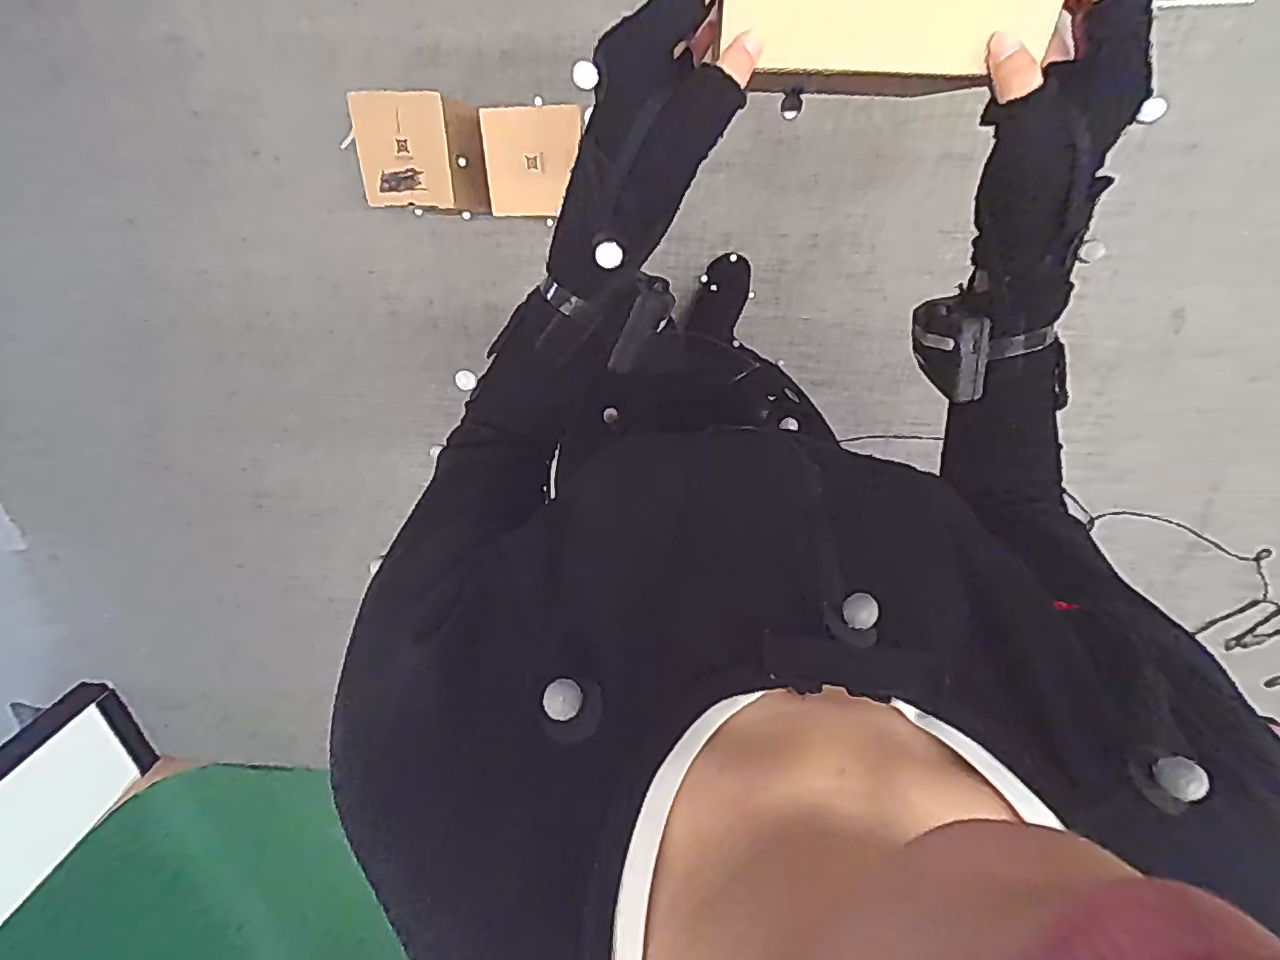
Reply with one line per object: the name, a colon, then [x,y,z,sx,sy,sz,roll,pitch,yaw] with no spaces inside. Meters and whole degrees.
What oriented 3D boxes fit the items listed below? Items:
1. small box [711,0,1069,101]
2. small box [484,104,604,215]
small box: [0.131,-0.325,0.302,0.168,0.176,0.179,3,124,2]
small box: [-0.168,-0.584,1.002,0.179,0.176,0.168,0,118,4]
